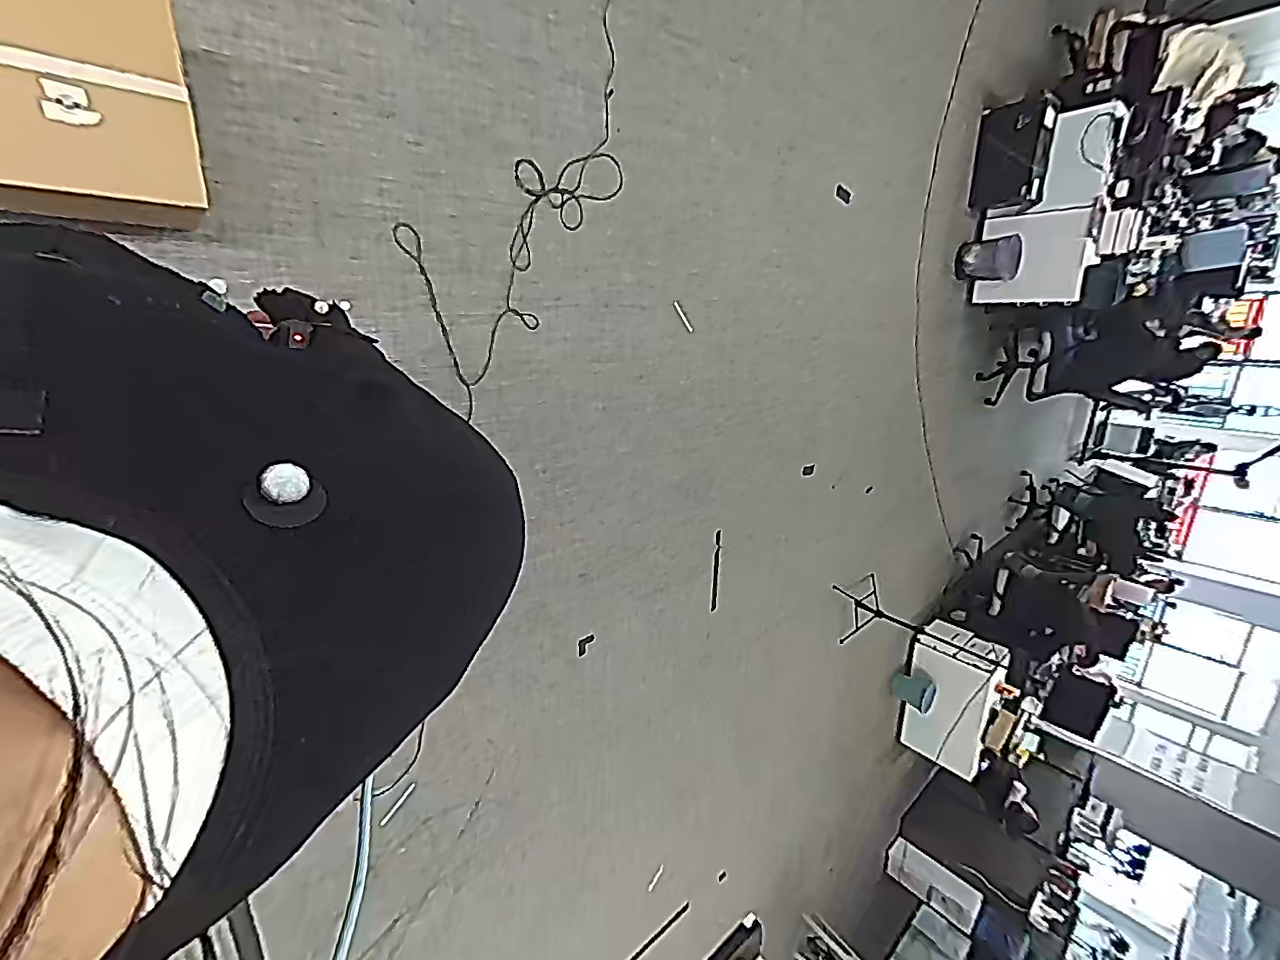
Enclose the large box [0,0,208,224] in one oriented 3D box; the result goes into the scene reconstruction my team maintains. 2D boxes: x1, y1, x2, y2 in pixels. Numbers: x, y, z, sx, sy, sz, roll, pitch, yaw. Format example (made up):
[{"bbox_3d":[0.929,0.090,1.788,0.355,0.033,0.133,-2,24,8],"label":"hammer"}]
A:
[{"bbox_3d":[-0.938,-0.588,0.803,0.408,0.320,0.320,-13,112,-40],"label":"large box"}]
